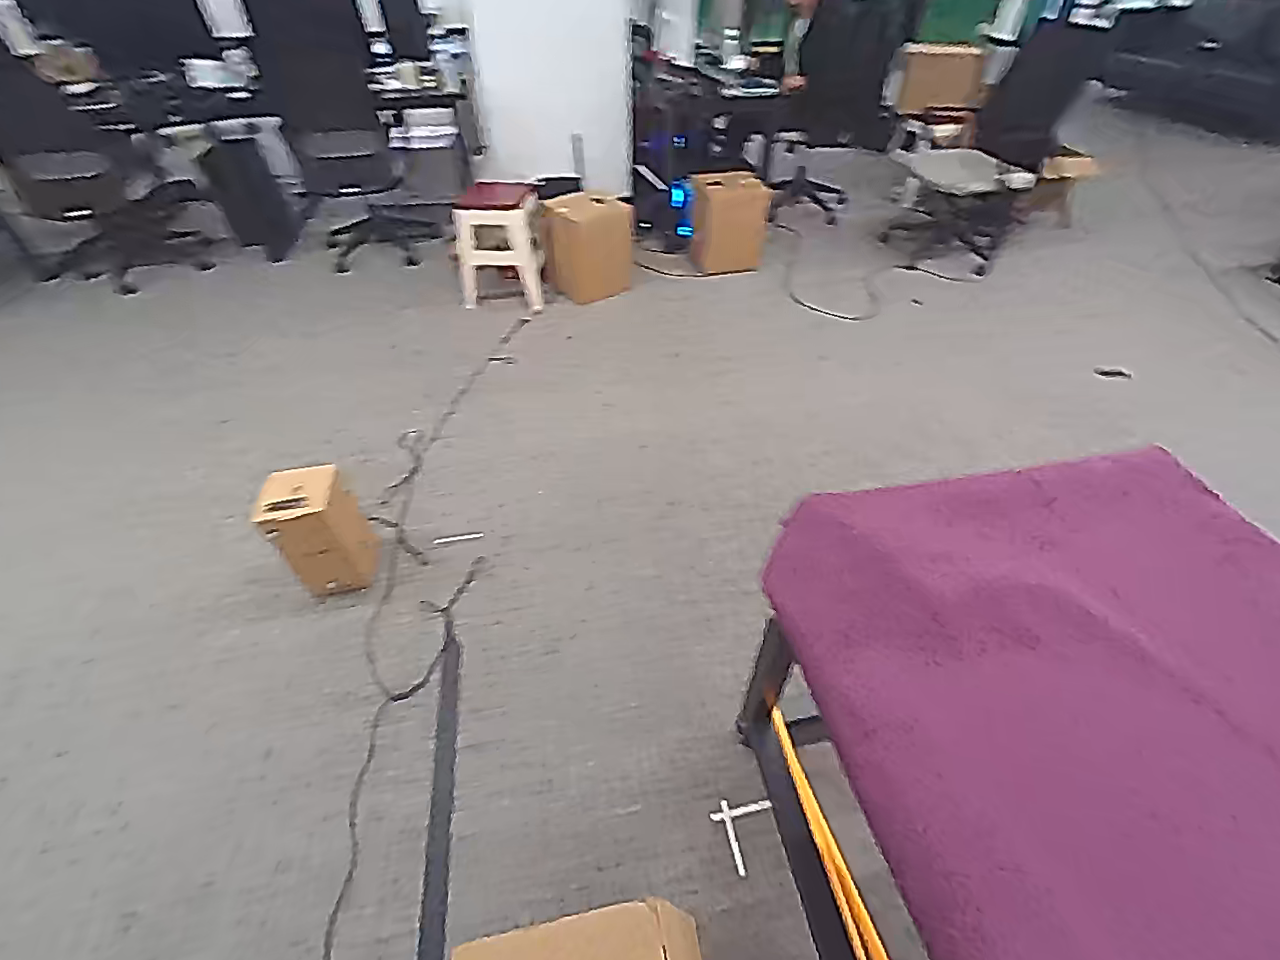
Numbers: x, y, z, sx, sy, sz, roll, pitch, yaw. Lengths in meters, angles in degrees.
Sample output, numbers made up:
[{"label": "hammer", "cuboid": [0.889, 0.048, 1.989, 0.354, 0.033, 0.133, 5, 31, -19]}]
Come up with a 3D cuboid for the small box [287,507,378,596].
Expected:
[{"label": "small box", "cuboid": [-0.866, 0.205, 1.543, 0.168, 0.176, 0.179, -9, 47, -8]}]
